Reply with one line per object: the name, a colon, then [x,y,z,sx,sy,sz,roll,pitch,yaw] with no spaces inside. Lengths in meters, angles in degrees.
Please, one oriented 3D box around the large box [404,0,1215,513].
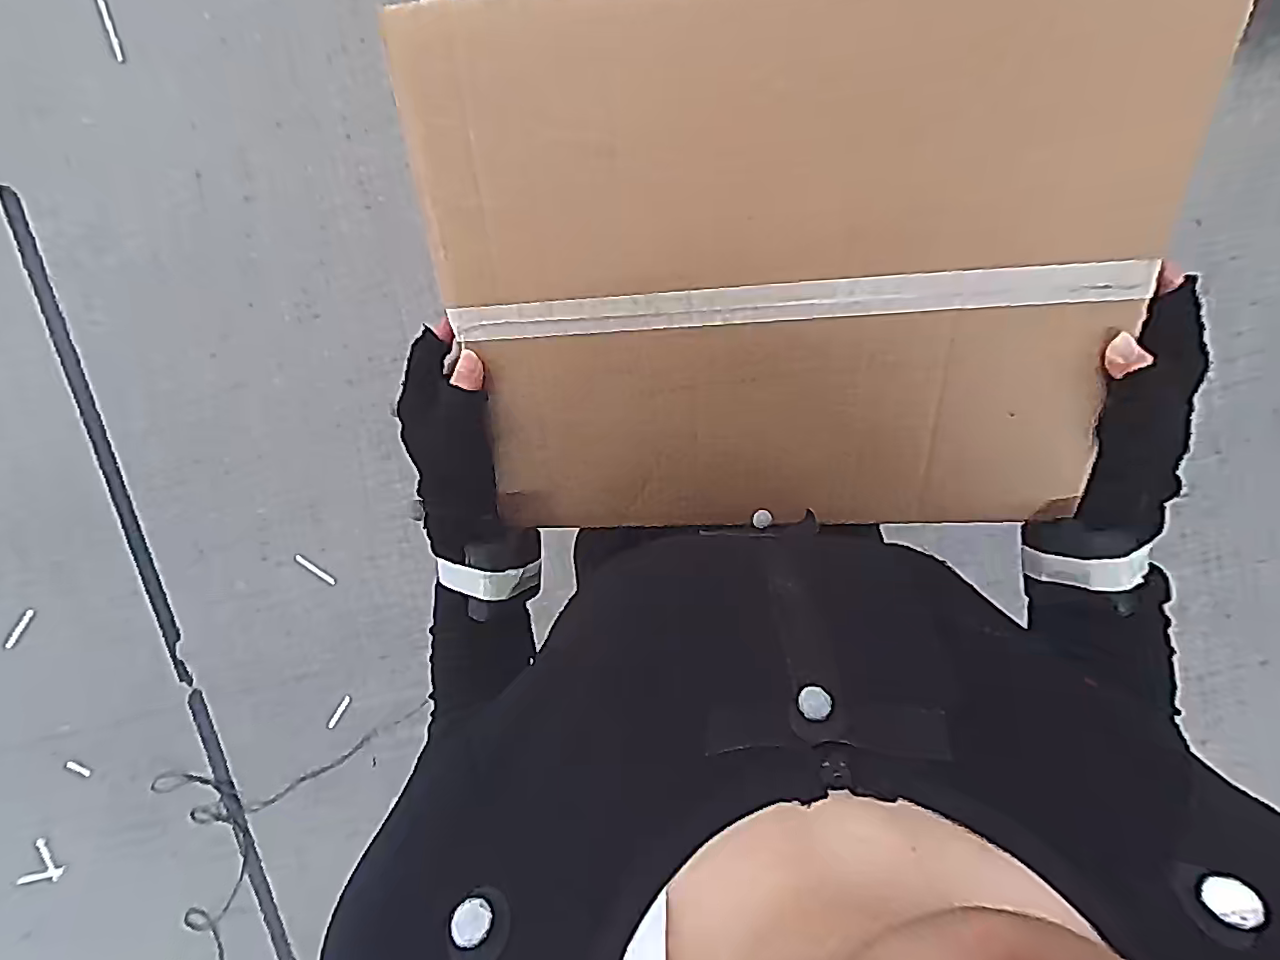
large box: [0.092,-0.185,0.463,0.408,0.320,0.320,-1,120,6]
